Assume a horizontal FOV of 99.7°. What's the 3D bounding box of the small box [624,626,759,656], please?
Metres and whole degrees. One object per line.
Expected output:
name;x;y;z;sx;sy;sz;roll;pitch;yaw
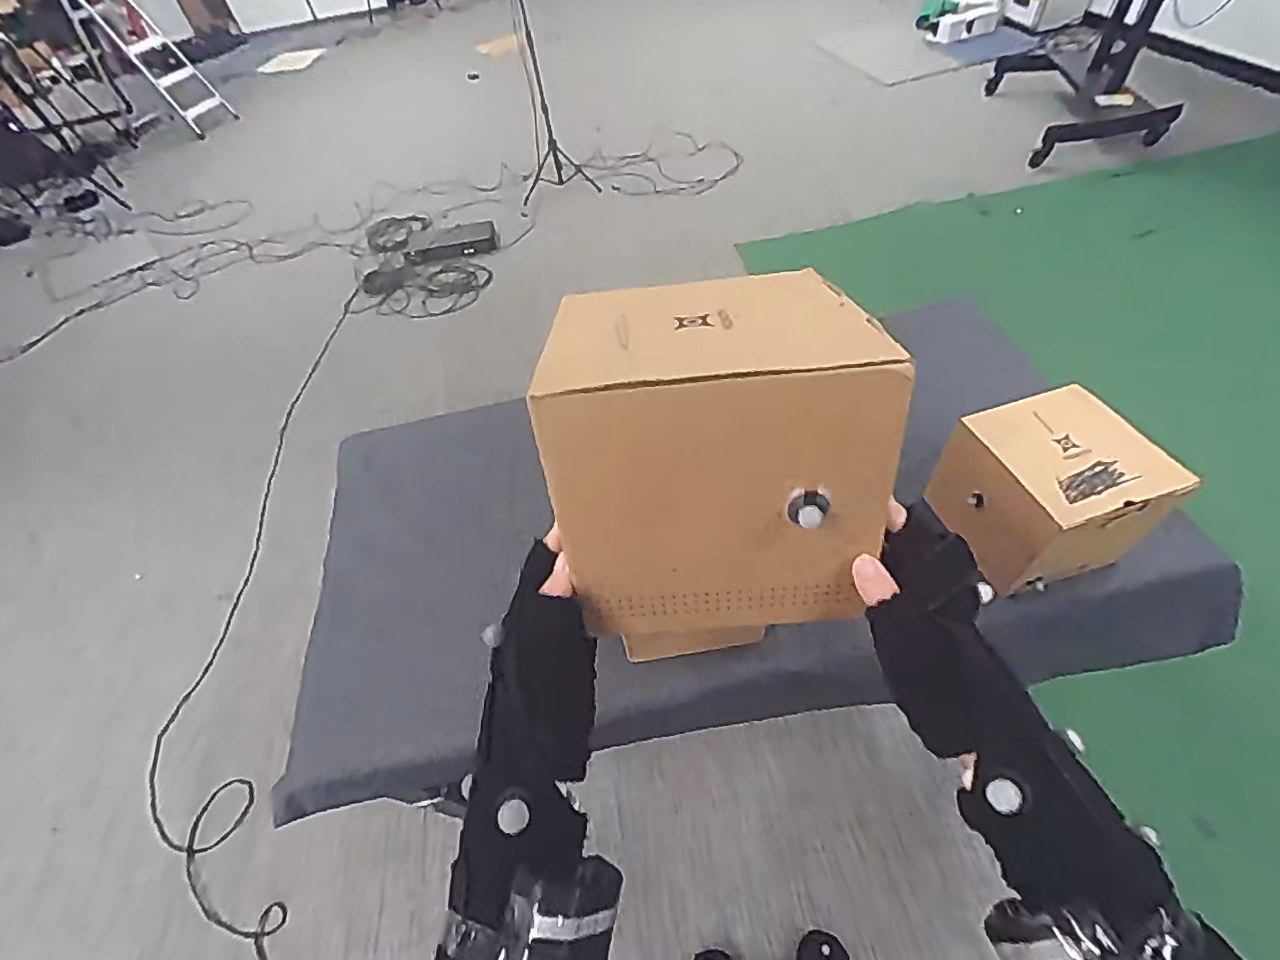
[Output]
small box;0.052;0.110;0.695;0.179;0.176;0.168;-10;51;1

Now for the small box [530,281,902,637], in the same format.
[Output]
small box;0.042;-0.017;0.359;0.179;0.176;0.168;-6;33;3

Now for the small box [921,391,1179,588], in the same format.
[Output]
small box;0.502;0.021;0.698;0.168;0.176;0.179;-16;50;-4
